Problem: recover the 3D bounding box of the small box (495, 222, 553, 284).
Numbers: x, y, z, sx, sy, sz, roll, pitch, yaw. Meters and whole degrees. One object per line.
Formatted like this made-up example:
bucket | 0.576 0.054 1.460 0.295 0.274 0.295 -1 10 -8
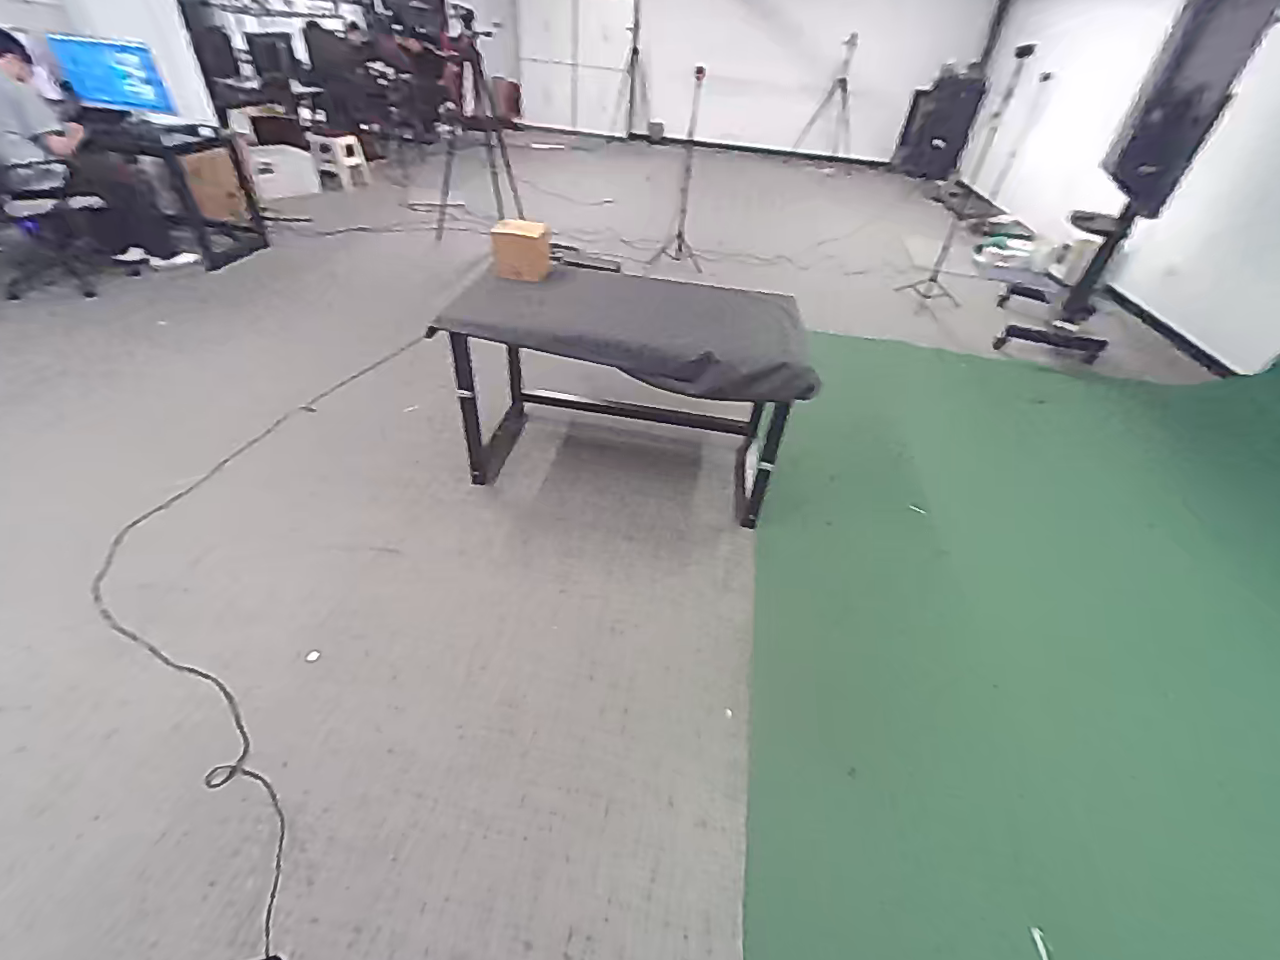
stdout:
small box | -0.438 -0.864 2.064 0.179 0.176 0.168 10 40 3
